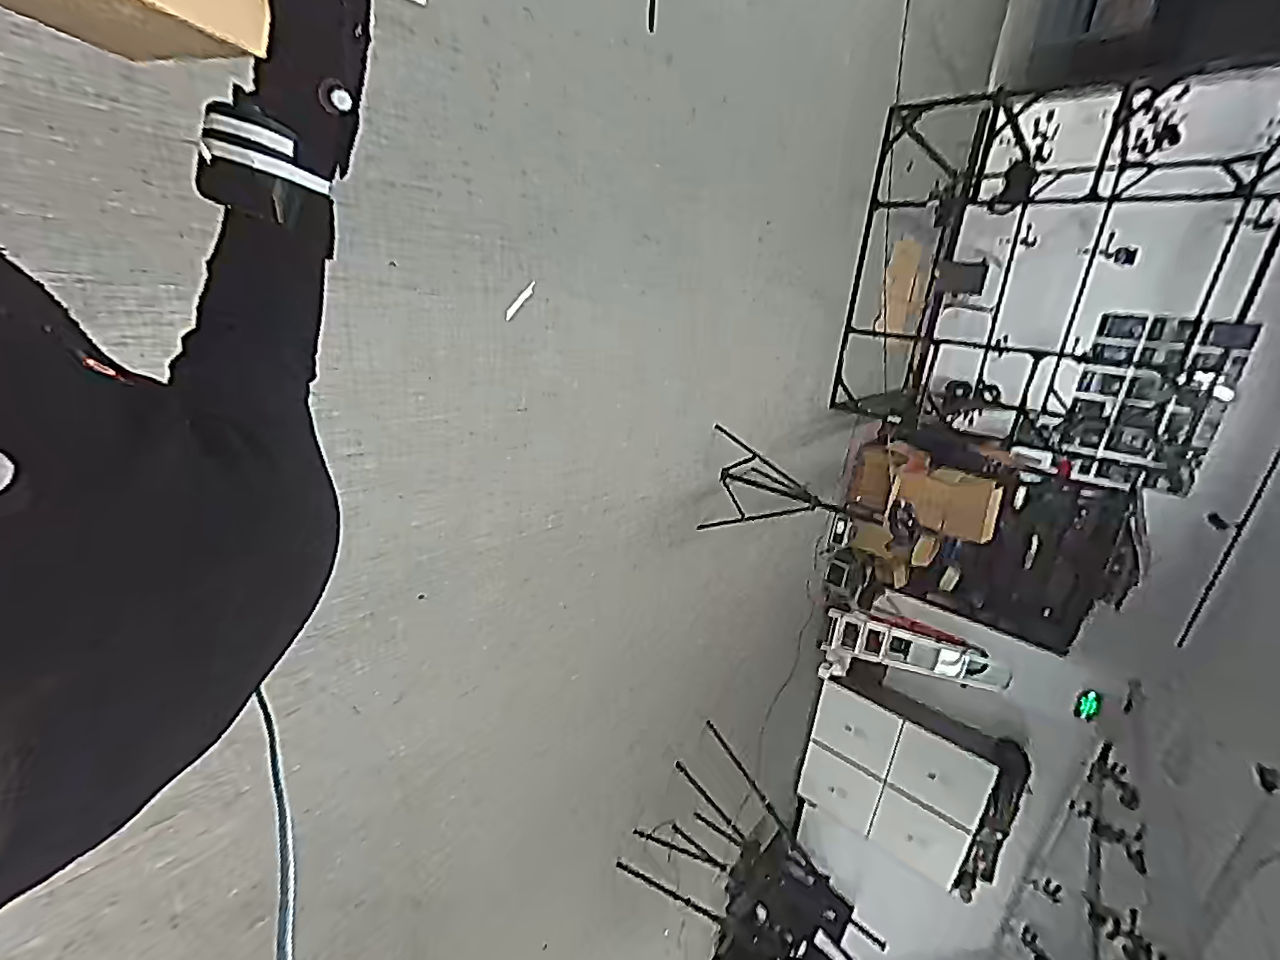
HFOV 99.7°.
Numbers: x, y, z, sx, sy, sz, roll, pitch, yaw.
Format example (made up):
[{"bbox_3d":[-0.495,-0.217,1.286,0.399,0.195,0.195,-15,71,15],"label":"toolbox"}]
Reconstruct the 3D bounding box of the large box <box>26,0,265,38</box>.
[{"bbox_3d":[-0.442,-0.474,0.228,0.408,0.320,0.320,-9,121,-55],"label":"large box"}]
